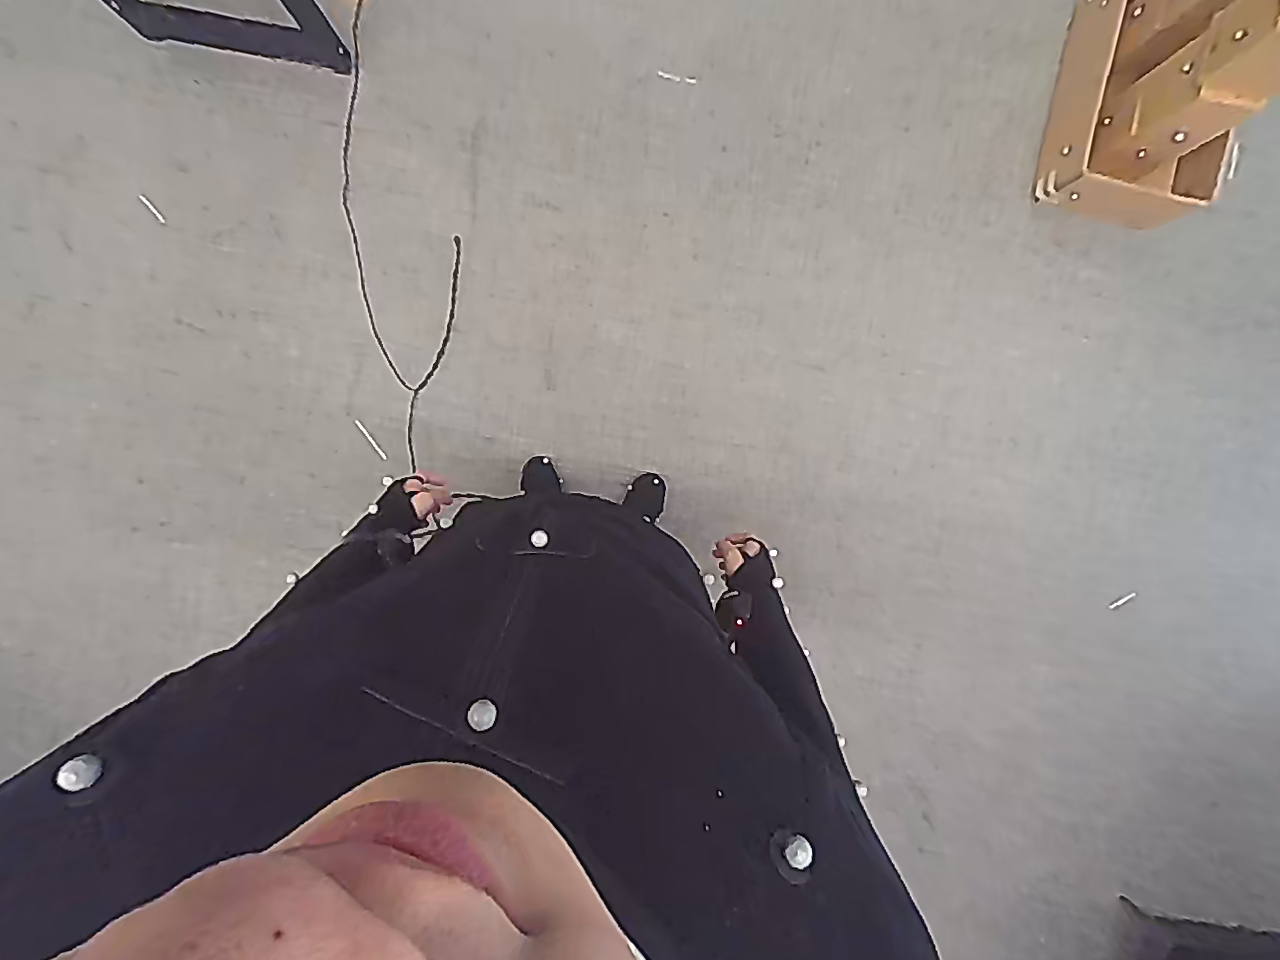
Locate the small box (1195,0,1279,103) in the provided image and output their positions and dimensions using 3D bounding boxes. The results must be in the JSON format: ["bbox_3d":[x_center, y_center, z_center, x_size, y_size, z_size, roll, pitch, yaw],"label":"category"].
[{"bbox_3d":[1.416,-0.989,1.206,0.179,0.176,0.168,14,92,-3],"label":"small box"}]

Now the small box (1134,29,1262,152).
[{"bbox_3d":[1.413,-0.977,1.369,0.168,0.176,0.179,9,92,-3],"label":"small box"}]

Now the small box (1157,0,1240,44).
[{"bbox_3d":[1.468,-1.246,1.360,0.168,0.176,0.179,11,93,-5],"label":"small box"}]

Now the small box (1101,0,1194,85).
[{"bbox_3d":[1.464,-1.254,1.526,0.179,0.176,0.168,11,93,-2],"label":"small box"}]

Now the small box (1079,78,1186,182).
[{"bbox_3d":[1.405,-0.982,1.534,0.179,0.176,0.168,13,91,-4],"label":"small box"}]
